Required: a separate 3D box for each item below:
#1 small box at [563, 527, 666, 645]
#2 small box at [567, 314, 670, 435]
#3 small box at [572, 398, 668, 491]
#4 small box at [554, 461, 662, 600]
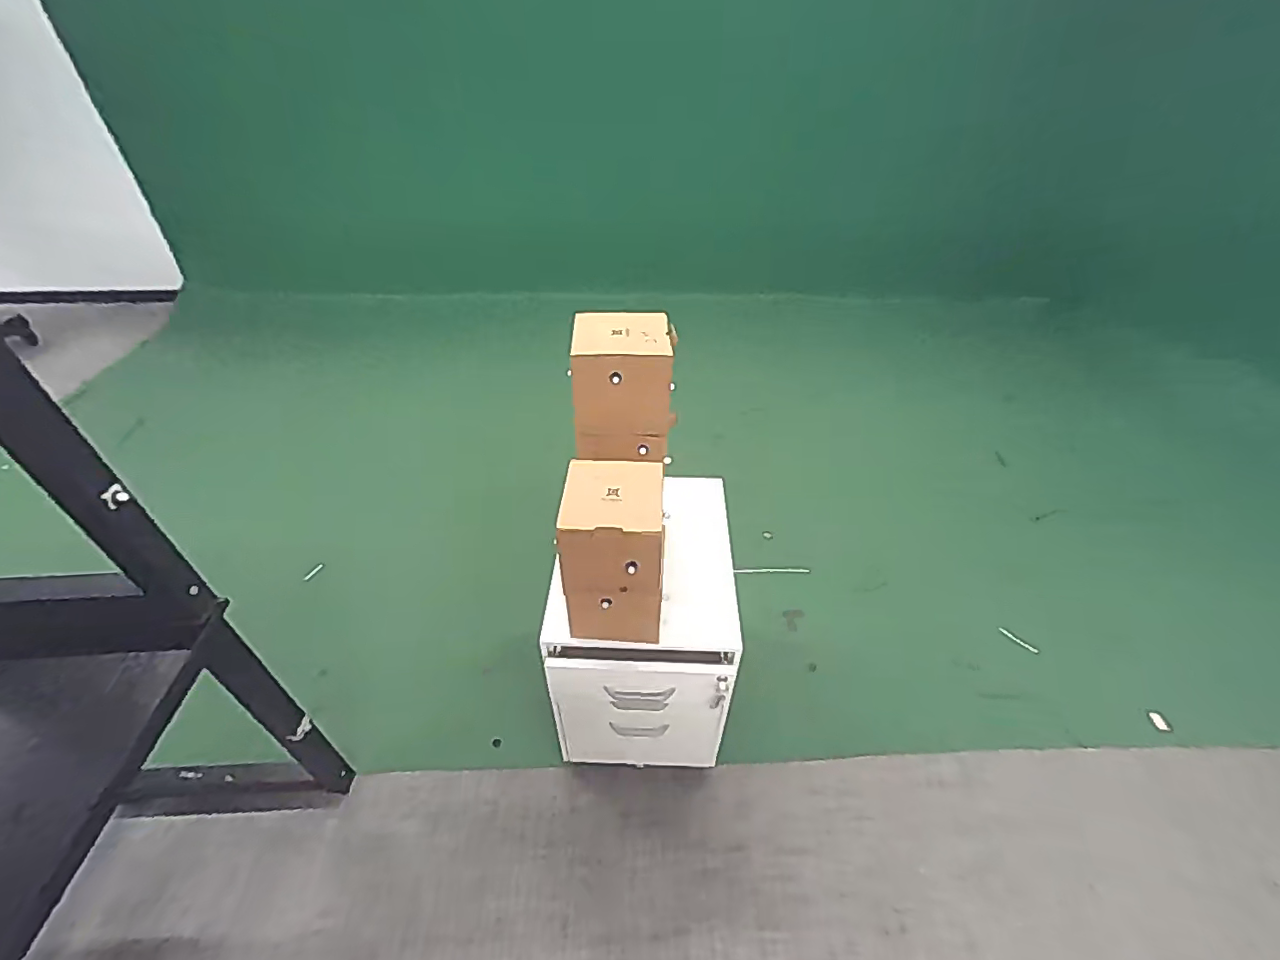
[{"bbox_3d":[-0.043,0.200,1.047,0.179,0.176,0.168,4,40,3],"label":"small box"},{"bbox_3d":[-0.039,-0.195,1.010,0.179,0.176,0.168,0,41,-3],"label":"small box"},{"bbox_3d":[-0.036,-0.074,1.121,0.179,0.176,0.168,5,40,3],"label":"small box"},{"bbox_3d":[-0.048,0.088,0.929,0.168,0.176,0.179,2,39,0],"label":"small box"}]
